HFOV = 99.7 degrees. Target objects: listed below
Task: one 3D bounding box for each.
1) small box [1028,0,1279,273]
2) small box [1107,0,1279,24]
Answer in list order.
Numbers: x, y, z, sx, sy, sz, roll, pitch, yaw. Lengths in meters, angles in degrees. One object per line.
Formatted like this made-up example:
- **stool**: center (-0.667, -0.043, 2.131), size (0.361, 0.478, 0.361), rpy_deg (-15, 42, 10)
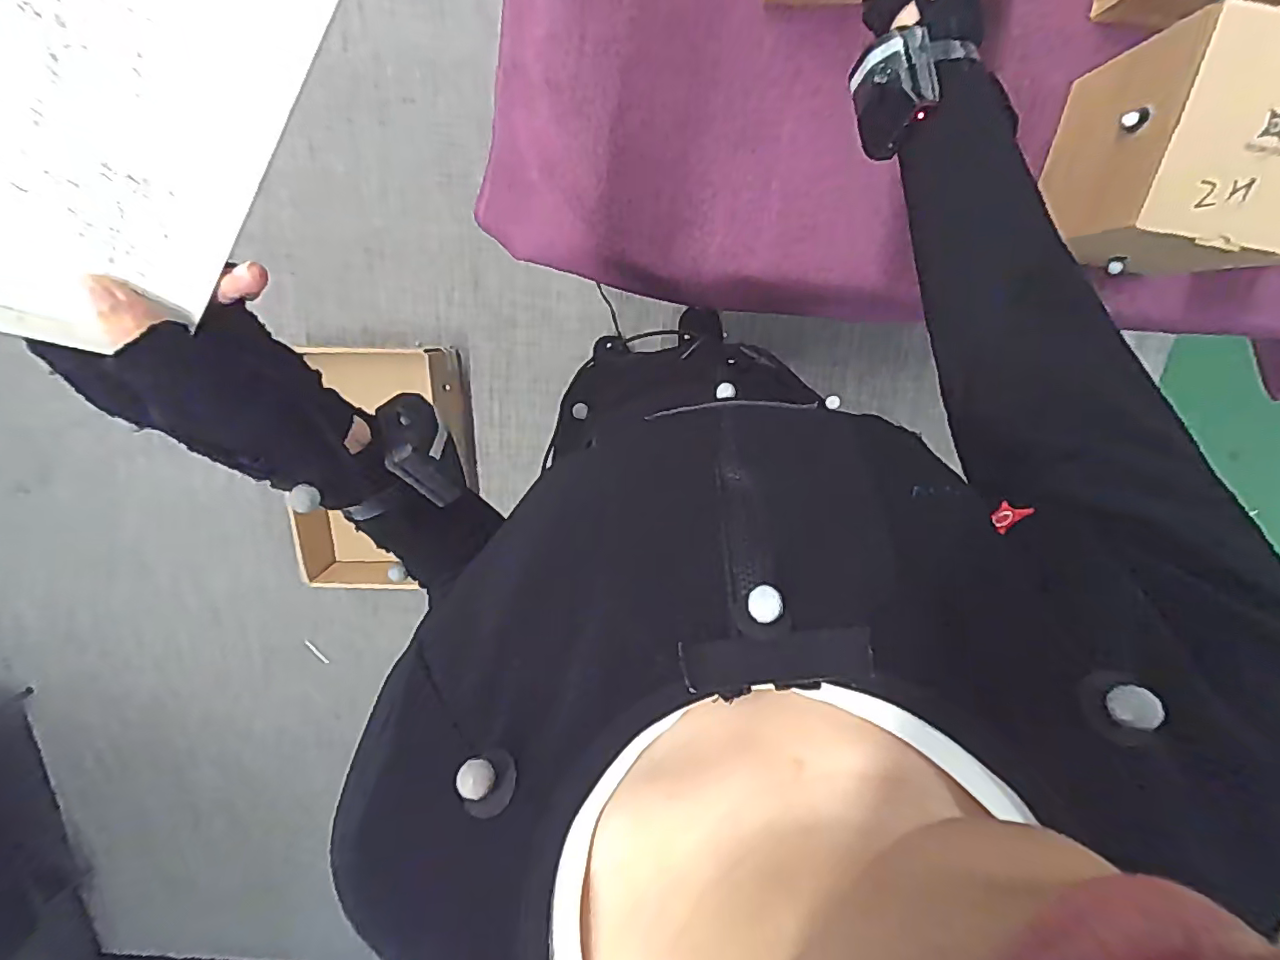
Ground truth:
- **small box**: center (0.534, -0.315, 0.533), size (0.168, 0.176, 0.179), rpy_deg (10, 107, -1)
- **small box**: center (0.558, -0.533, 0.468), size (0.168, 0.176, 0.179), rpy_deg (5, 107, 0)
